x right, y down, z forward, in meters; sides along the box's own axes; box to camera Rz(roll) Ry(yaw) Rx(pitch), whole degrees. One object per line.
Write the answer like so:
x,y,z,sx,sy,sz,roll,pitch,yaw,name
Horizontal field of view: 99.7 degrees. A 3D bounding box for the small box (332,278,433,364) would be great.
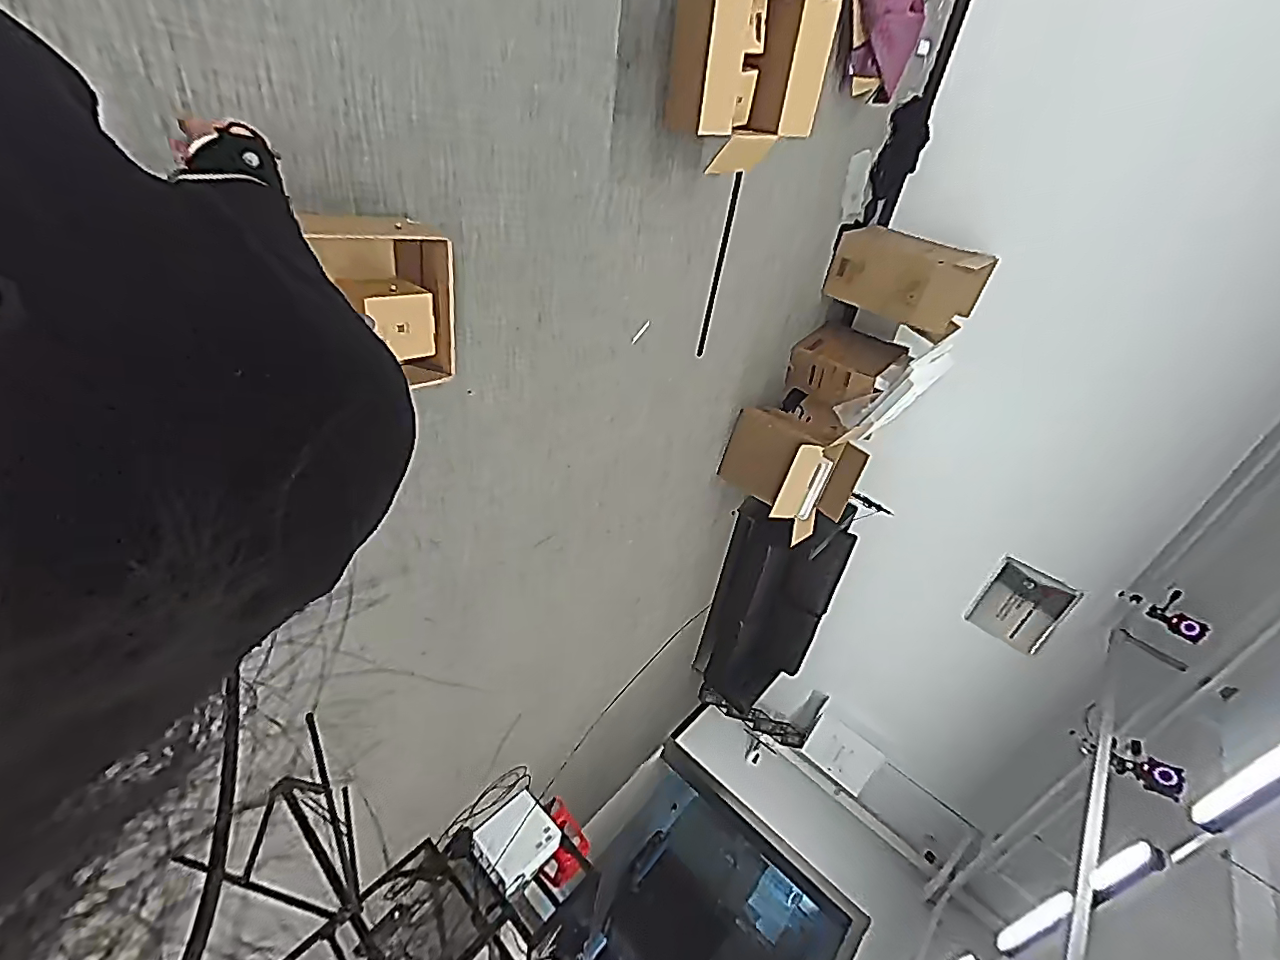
-0.663,-0.418,1.401,0.179,0.176,0.168,-24,134,-42,small box
